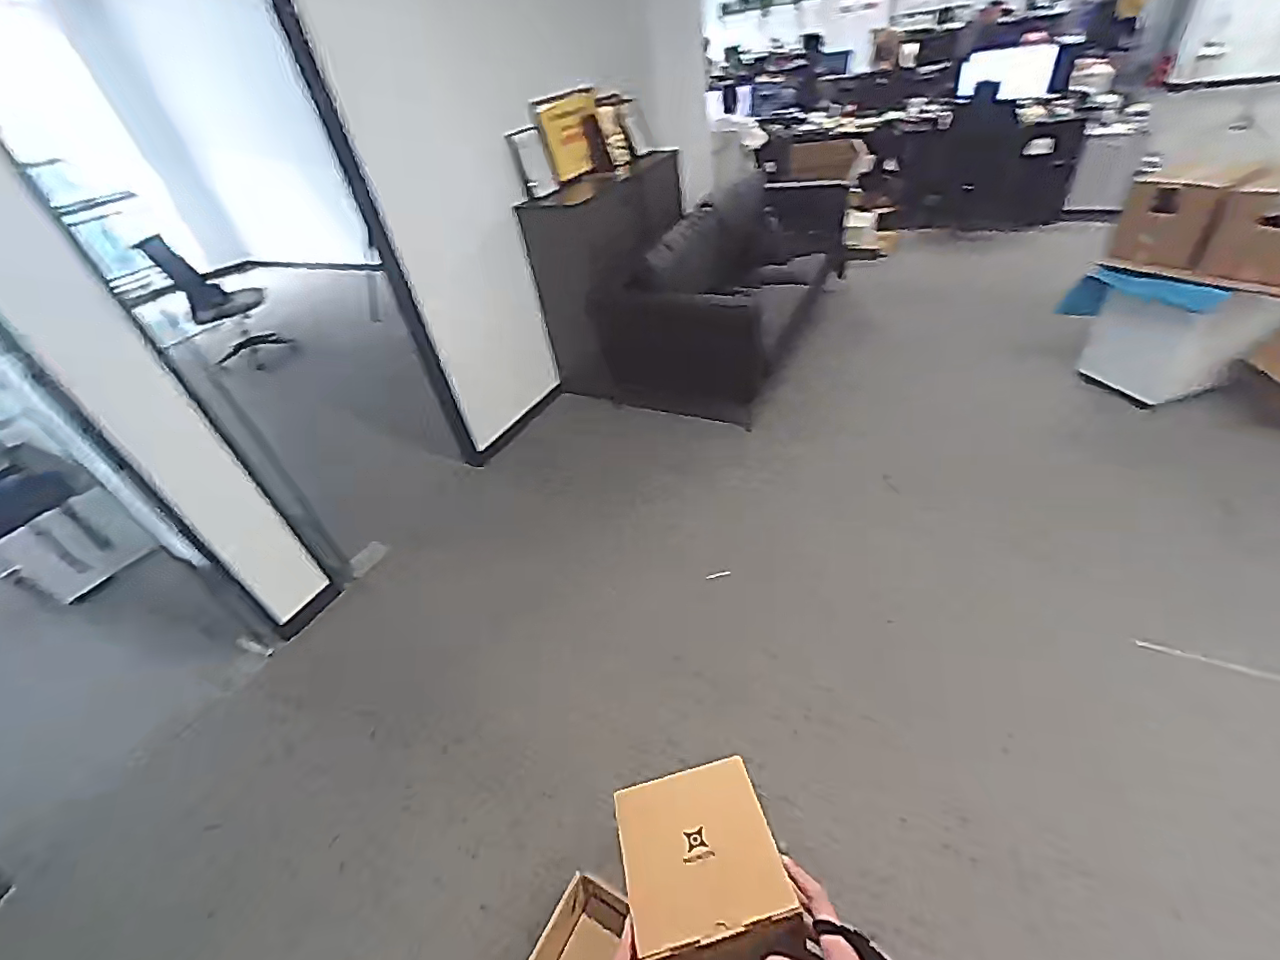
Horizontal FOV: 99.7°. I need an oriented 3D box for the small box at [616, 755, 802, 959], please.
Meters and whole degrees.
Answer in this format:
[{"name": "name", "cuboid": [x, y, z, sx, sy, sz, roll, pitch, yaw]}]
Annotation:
[{"name": "small box", "cuboid": [0.074, 0.465, 0.625, 0.168, 0.176, 0.179, -13, 27, -5]}]
